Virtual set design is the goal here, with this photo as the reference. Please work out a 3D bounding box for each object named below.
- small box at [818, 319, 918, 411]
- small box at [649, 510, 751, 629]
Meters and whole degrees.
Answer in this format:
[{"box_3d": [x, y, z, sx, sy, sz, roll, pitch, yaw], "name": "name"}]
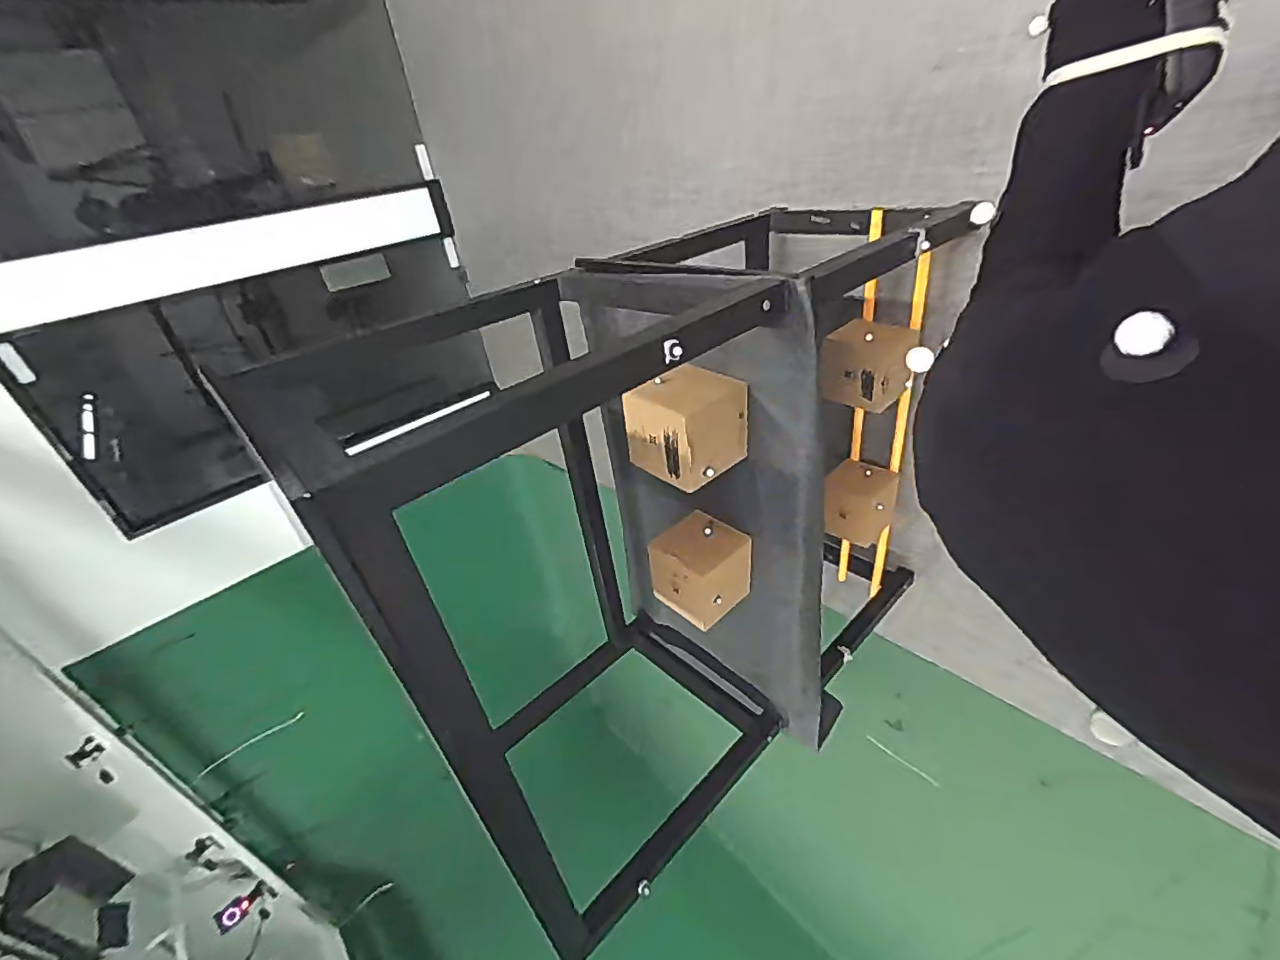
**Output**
[{"box_3d": [0.588, -0.303, 1.396, 0.179, 0.176, 0.168, 28, 137, 39], "name": "small box"}, {"box_3d": [0.143, 0.201, 1.253, 0.168, 0.176, 0.179, 28, 137, 39], "name": "small box"}]
